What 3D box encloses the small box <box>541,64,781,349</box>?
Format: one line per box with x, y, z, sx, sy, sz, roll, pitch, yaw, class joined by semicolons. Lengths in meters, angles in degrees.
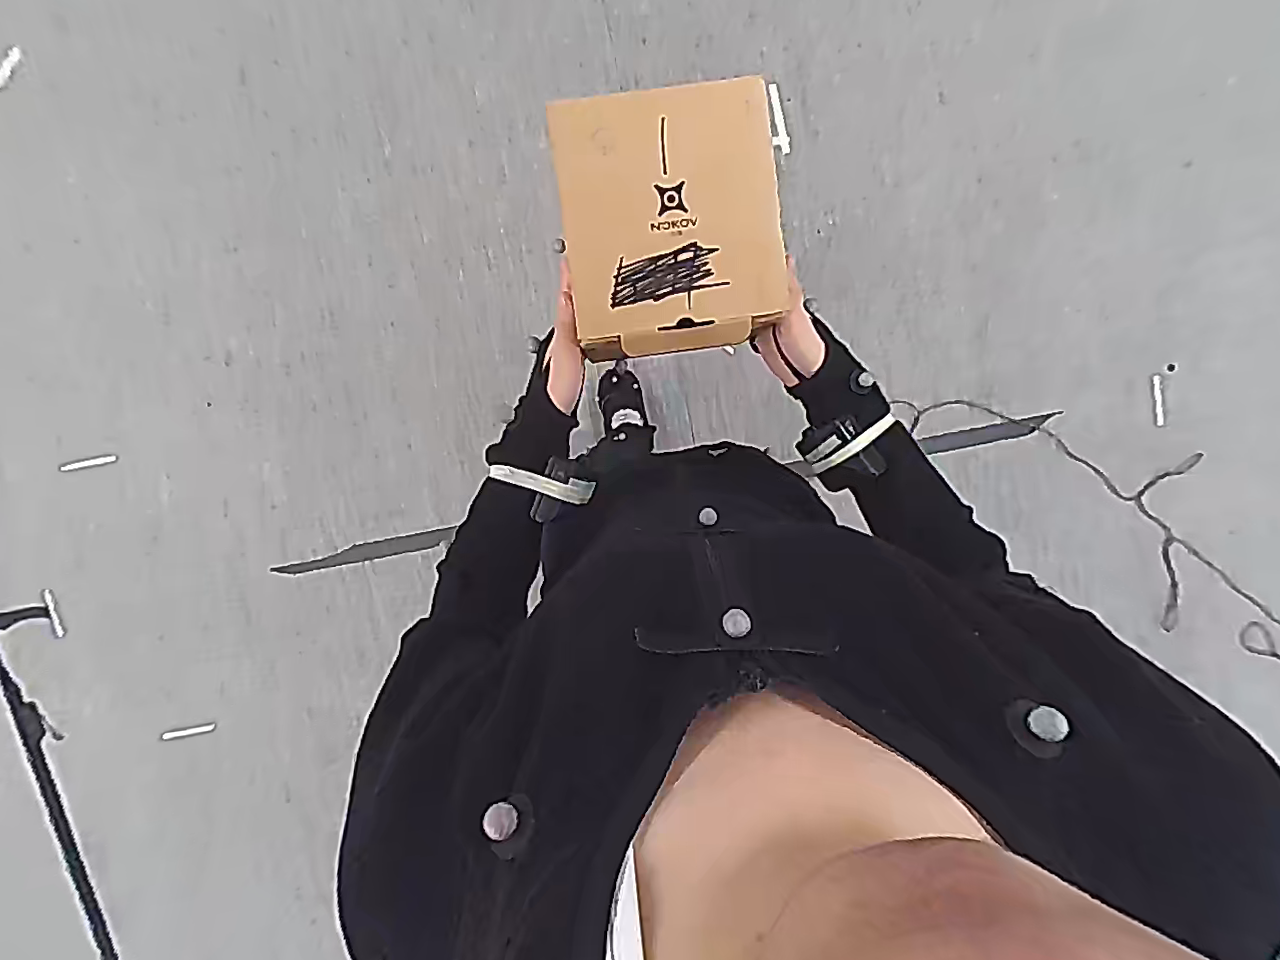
0.016;-0.217;0.482;0.168;0.176;0.179;-8;96;-1;small box
